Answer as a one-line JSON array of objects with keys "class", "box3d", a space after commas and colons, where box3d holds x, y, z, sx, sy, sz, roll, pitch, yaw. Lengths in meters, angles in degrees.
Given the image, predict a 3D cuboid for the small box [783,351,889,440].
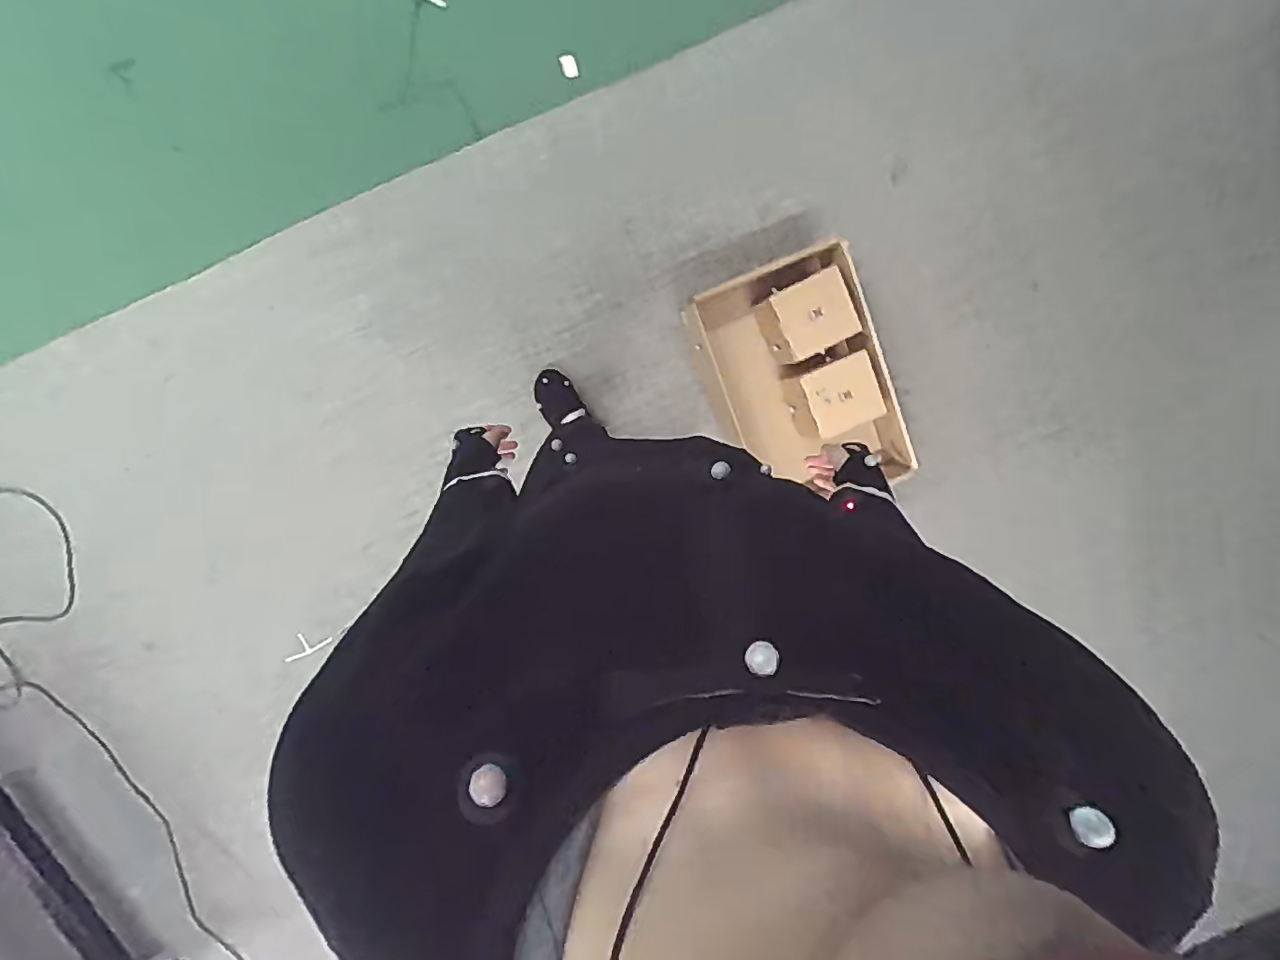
[{"class": "small box", "box3d": [0.487, -0.214, 1.365, 0.179, 0.176, 0.168, -22, 99, 1]}]
